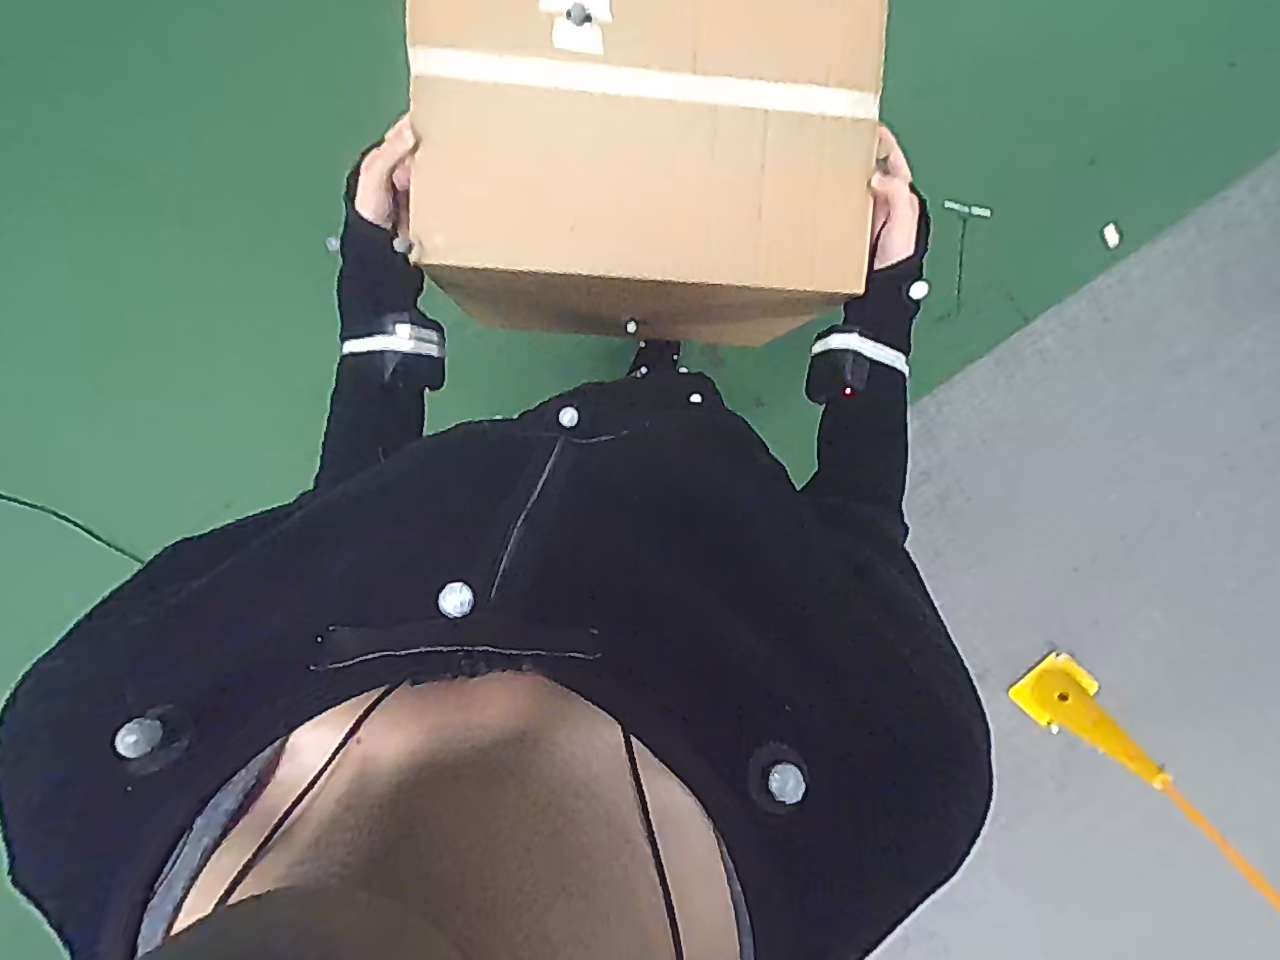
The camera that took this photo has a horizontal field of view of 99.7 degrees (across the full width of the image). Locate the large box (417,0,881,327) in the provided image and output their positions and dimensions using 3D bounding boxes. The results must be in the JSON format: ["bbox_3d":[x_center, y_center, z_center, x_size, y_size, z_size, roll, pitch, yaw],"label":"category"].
[{"bbox_3d":[0.000,-0.359,0.616,0.408,0.320,0.320,2,96,-5],"label":"large box"}]
